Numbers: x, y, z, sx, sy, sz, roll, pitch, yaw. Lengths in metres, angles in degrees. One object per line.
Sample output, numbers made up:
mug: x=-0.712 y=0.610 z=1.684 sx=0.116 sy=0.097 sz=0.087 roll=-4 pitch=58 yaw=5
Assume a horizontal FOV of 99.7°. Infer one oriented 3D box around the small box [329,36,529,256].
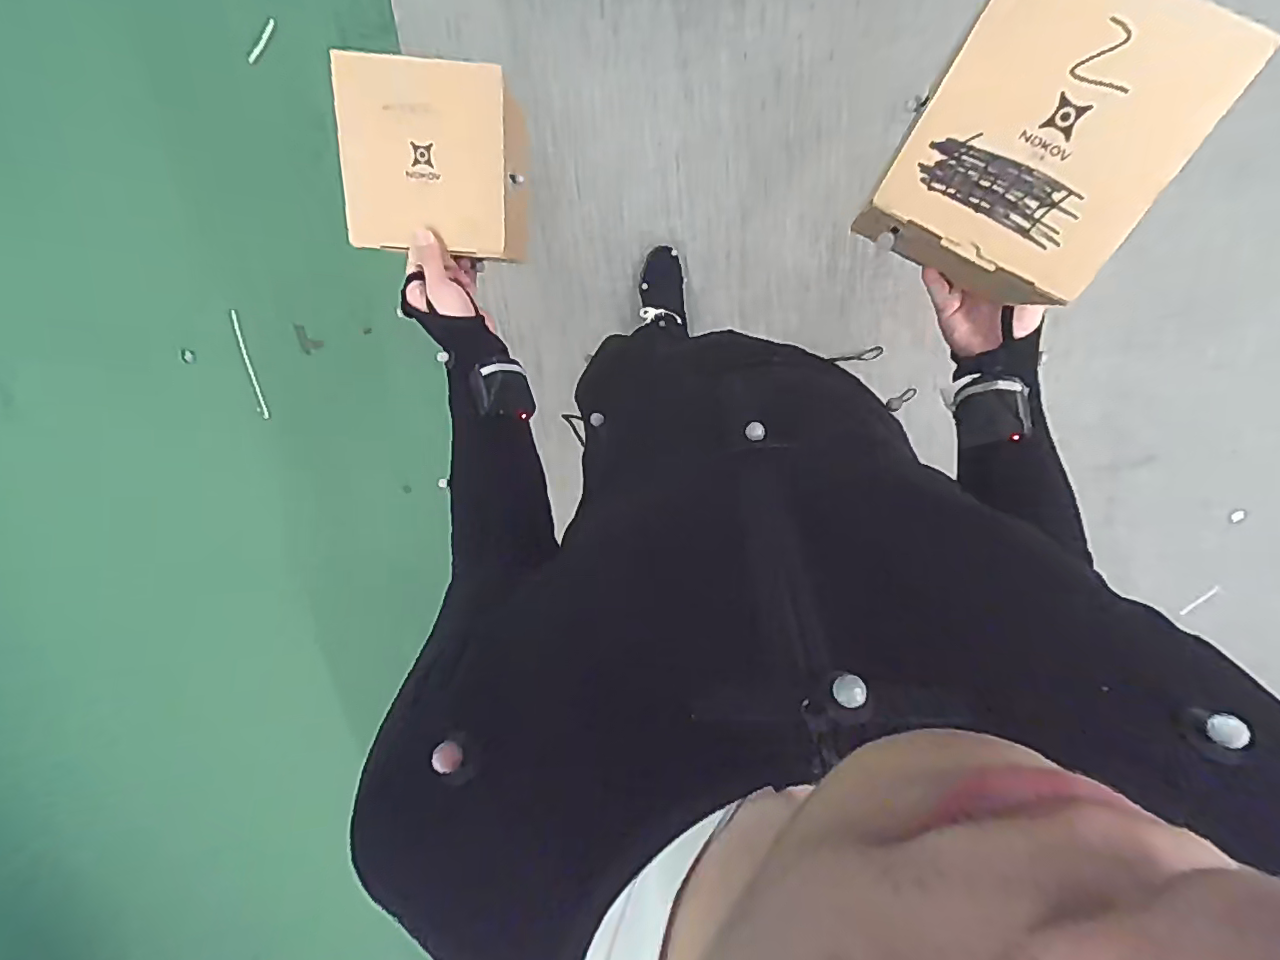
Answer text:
small box: x=-0.224 y=-0.359 z=0.619 sx=0.168 sy=0.176 sz=0.179 roll=4 pitch=108 yaw=-3
